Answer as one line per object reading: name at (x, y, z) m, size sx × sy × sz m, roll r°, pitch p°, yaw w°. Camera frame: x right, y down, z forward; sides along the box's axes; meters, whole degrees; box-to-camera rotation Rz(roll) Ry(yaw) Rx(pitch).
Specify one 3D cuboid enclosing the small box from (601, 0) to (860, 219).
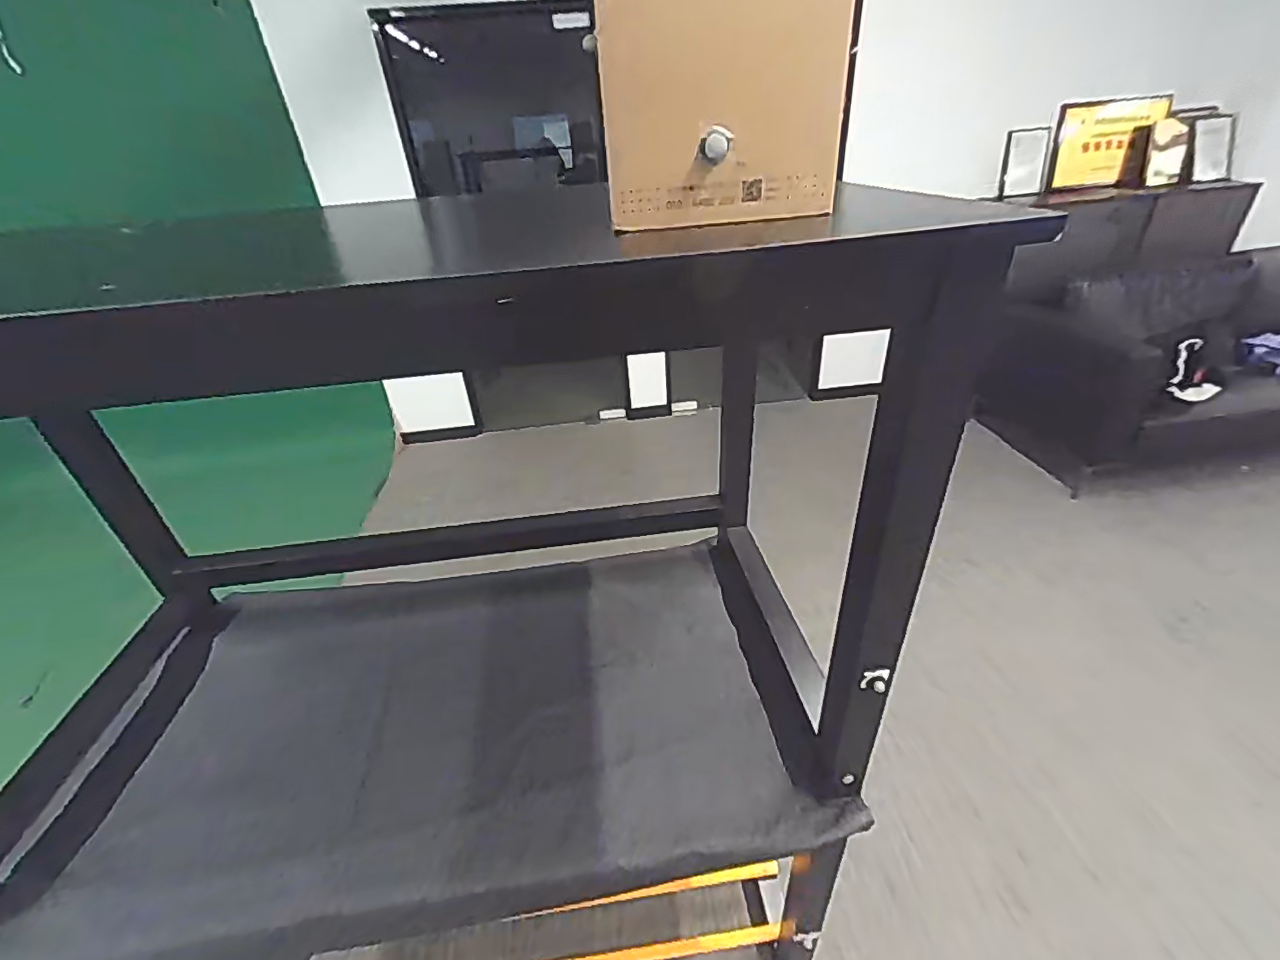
small box at (0.058, -0.310, 0.428) m, size 0.168 × 0.176 × 0.179 m, roll -4°, pitch 33°, yaw 2°
